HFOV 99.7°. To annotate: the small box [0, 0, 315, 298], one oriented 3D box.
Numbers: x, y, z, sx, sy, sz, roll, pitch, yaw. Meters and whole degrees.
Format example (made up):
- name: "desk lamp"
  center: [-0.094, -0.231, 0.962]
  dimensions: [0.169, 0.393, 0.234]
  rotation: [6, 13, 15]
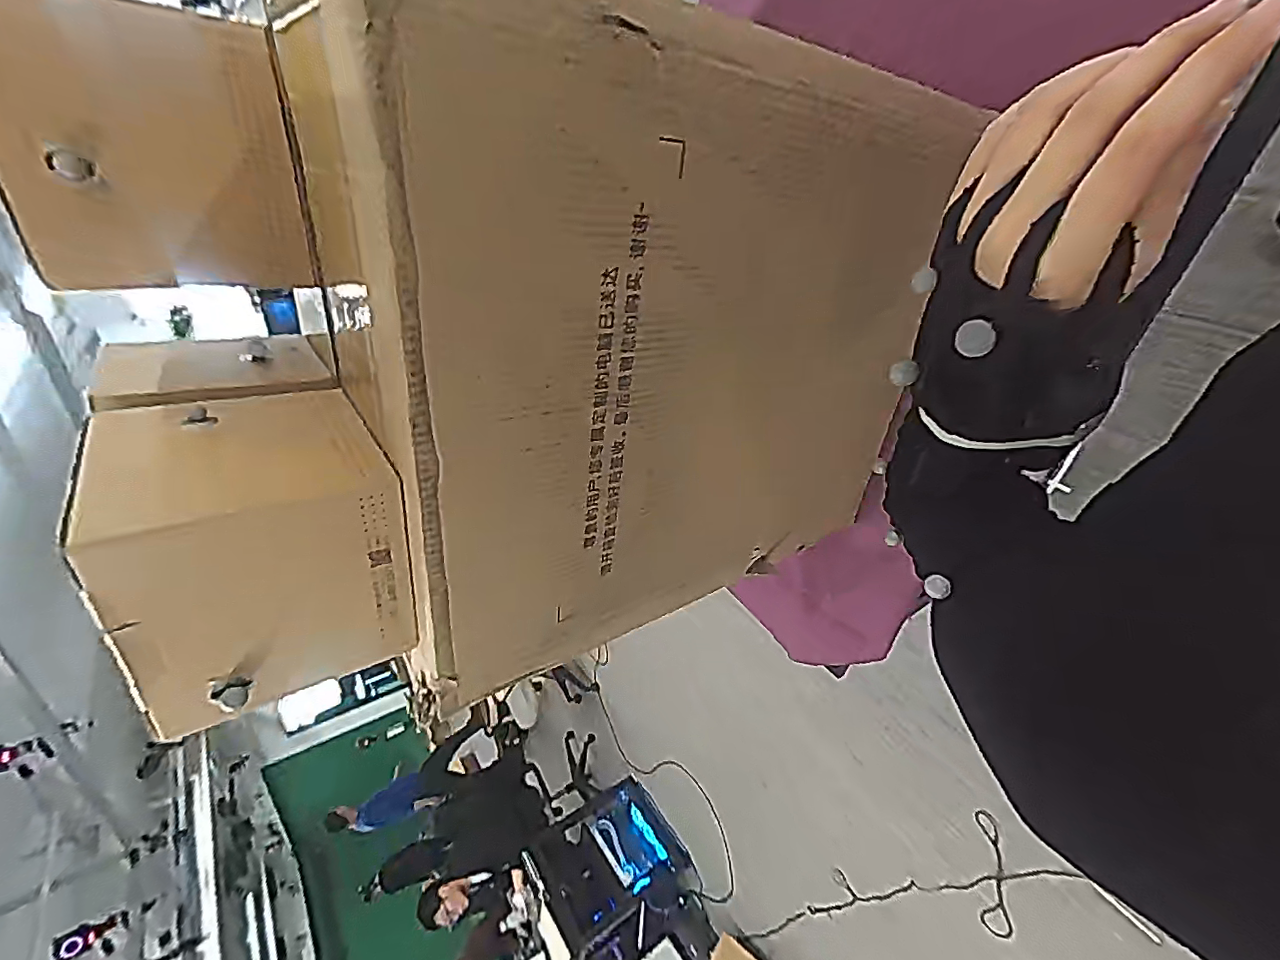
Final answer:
- name: "small box"
  center: [-0.377, -0.254, 0.421]
  dimensions: [0.168, 0.176, 0.179]
  rotation: [38, 134, 42]
